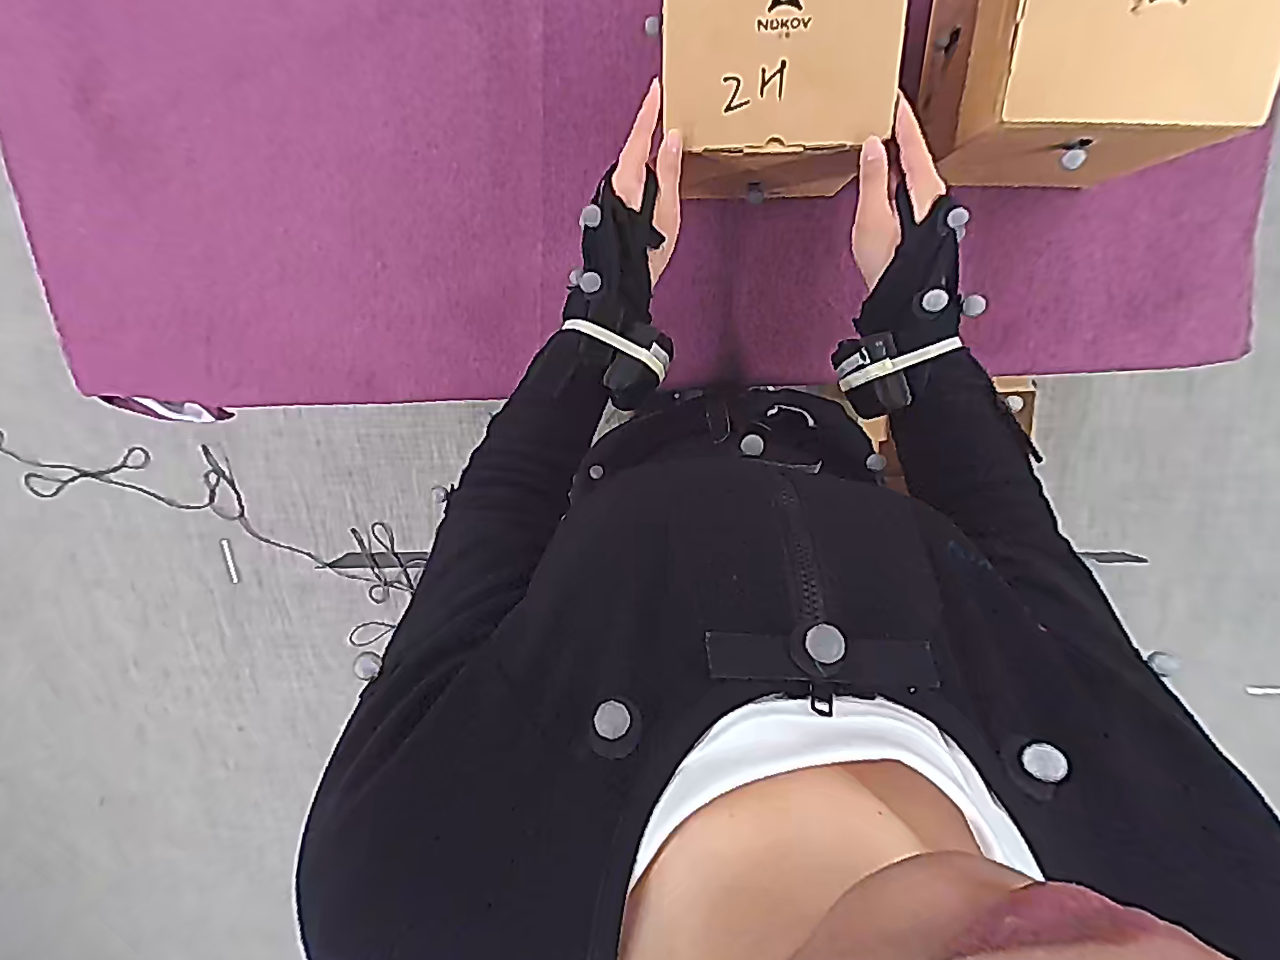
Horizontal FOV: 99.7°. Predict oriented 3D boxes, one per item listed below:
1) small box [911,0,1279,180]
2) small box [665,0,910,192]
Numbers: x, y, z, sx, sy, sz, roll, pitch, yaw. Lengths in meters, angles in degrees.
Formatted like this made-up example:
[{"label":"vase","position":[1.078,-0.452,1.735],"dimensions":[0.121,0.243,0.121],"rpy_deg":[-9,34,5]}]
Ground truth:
[{"label":"small box","position":[0.347,-0.349,0.426],"dimensions":[0.179,0.176,0.168],"rpy_deg":[4,106,4]},{"label":"small box","position":[0.107,-0.352,0.444],"dimensions":[0.168,0.176,0.179],"rpy_deg":[2,107,5]}]
